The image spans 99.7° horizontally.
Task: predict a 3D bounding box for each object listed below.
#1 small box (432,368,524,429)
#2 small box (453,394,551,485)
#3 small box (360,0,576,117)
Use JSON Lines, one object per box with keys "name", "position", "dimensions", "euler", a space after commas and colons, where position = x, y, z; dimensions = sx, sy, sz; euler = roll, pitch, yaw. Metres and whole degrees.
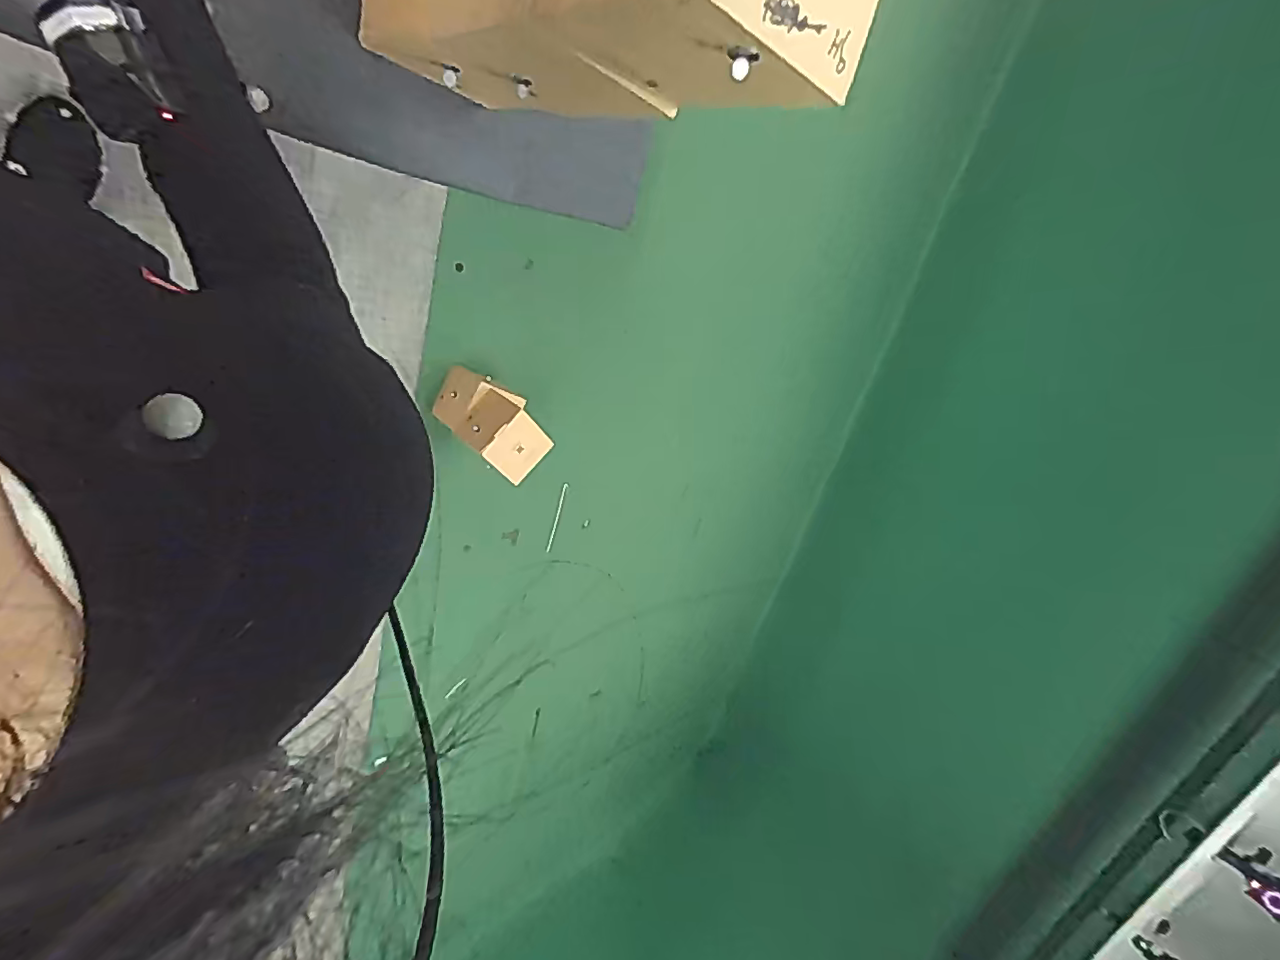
{"name": "small box", "position": [-0.491, -0.221, 1.624], "dimensions": [0.179, 0.176, 0.168], "euler": [18, 102, -53]}
{"name": "small box", "position": [-0.393, -0.121, 1.534], "dimensions": [0.168, 0.176, 0.179], "euler": [-49, 143, -9]}
{"name": "small box", "position": [-0.170, -0.504, 0.555], "dimensions": [0.168, 0.176, 0.179], "euler": [-6, 119, -47]}
